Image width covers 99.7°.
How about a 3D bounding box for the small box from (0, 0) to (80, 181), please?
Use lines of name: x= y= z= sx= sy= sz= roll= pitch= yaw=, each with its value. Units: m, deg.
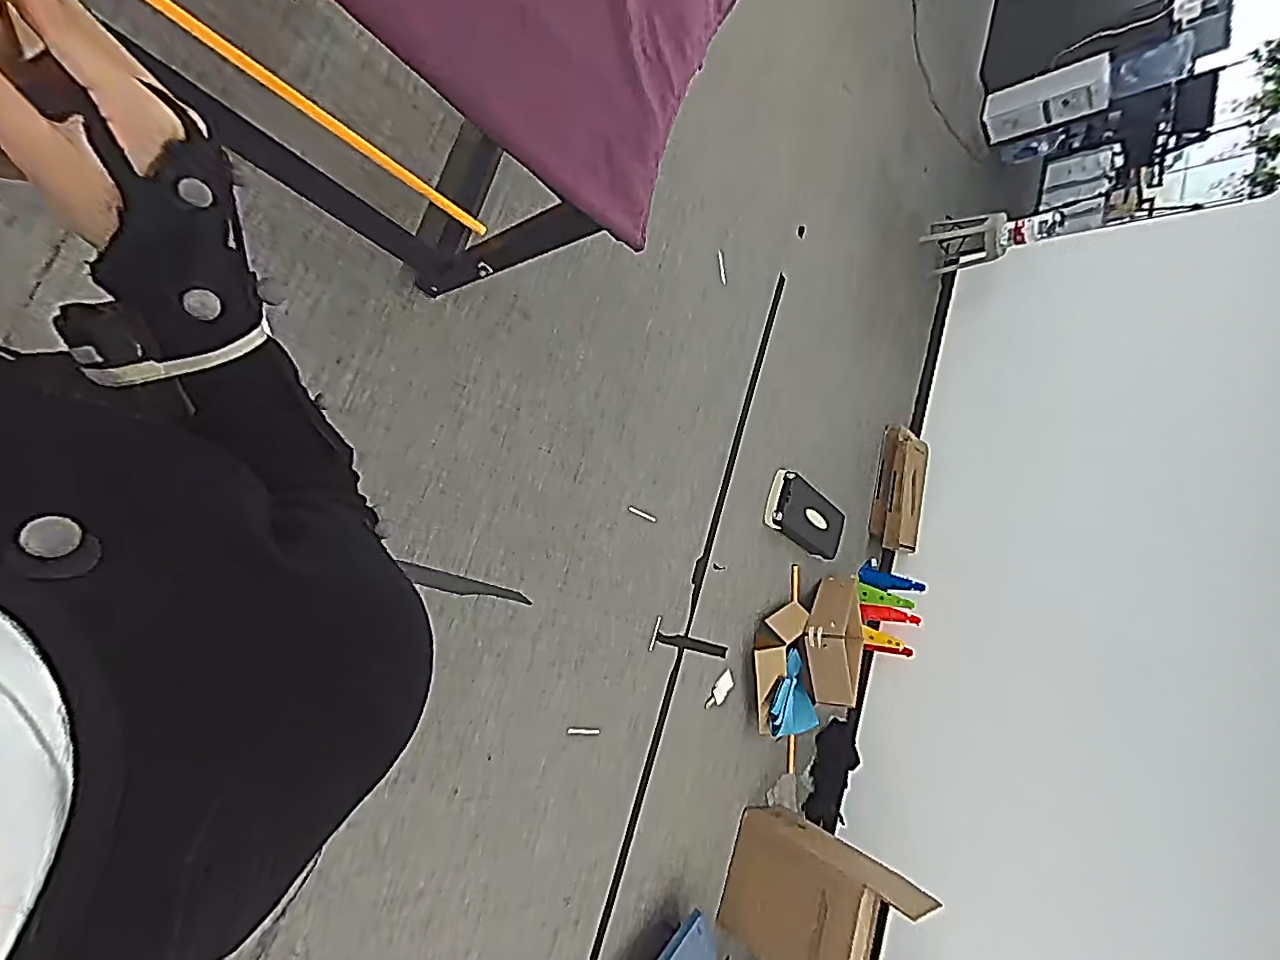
small box: x=-0.366 y=-0.252 z=0.214 sx=0.168 sy=0.176 sz=0.179 roll=-12 pitch=95 yaw=-39
